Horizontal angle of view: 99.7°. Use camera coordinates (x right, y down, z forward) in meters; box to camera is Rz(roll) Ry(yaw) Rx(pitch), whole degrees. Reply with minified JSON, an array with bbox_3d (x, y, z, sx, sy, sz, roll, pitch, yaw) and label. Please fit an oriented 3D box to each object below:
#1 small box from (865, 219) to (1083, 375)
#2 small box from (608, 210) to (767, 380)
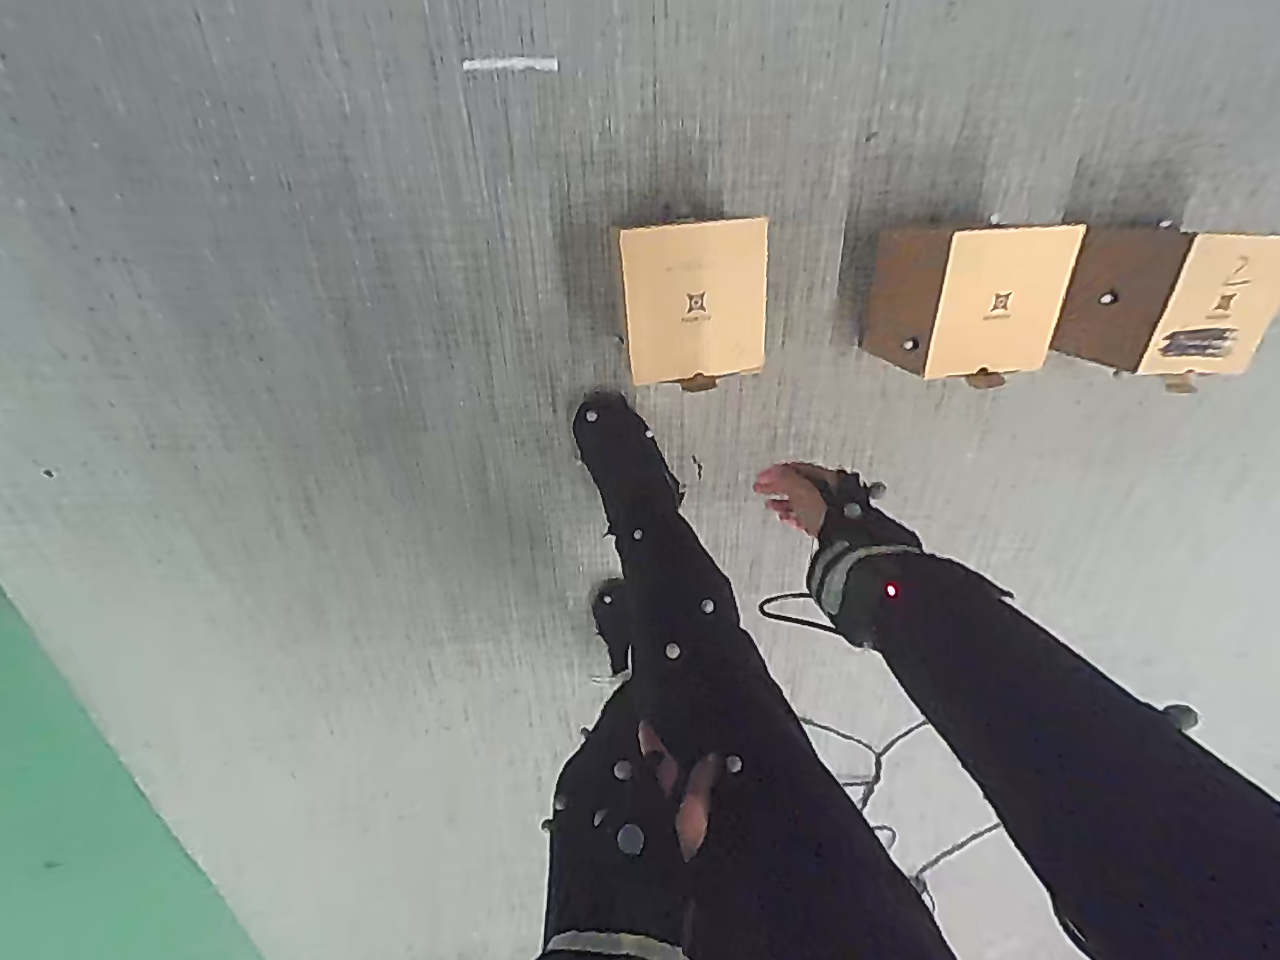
[{"bbox_3d":[0.425,-0.251,0.725,0.168,0.176,0.179,-5,117,-5],"label":"small box"},{"bbox_3d":[0.052,-0.240,0.684,0.168,0.176,0.179,-7,116,-4],"label":"small box"}]
